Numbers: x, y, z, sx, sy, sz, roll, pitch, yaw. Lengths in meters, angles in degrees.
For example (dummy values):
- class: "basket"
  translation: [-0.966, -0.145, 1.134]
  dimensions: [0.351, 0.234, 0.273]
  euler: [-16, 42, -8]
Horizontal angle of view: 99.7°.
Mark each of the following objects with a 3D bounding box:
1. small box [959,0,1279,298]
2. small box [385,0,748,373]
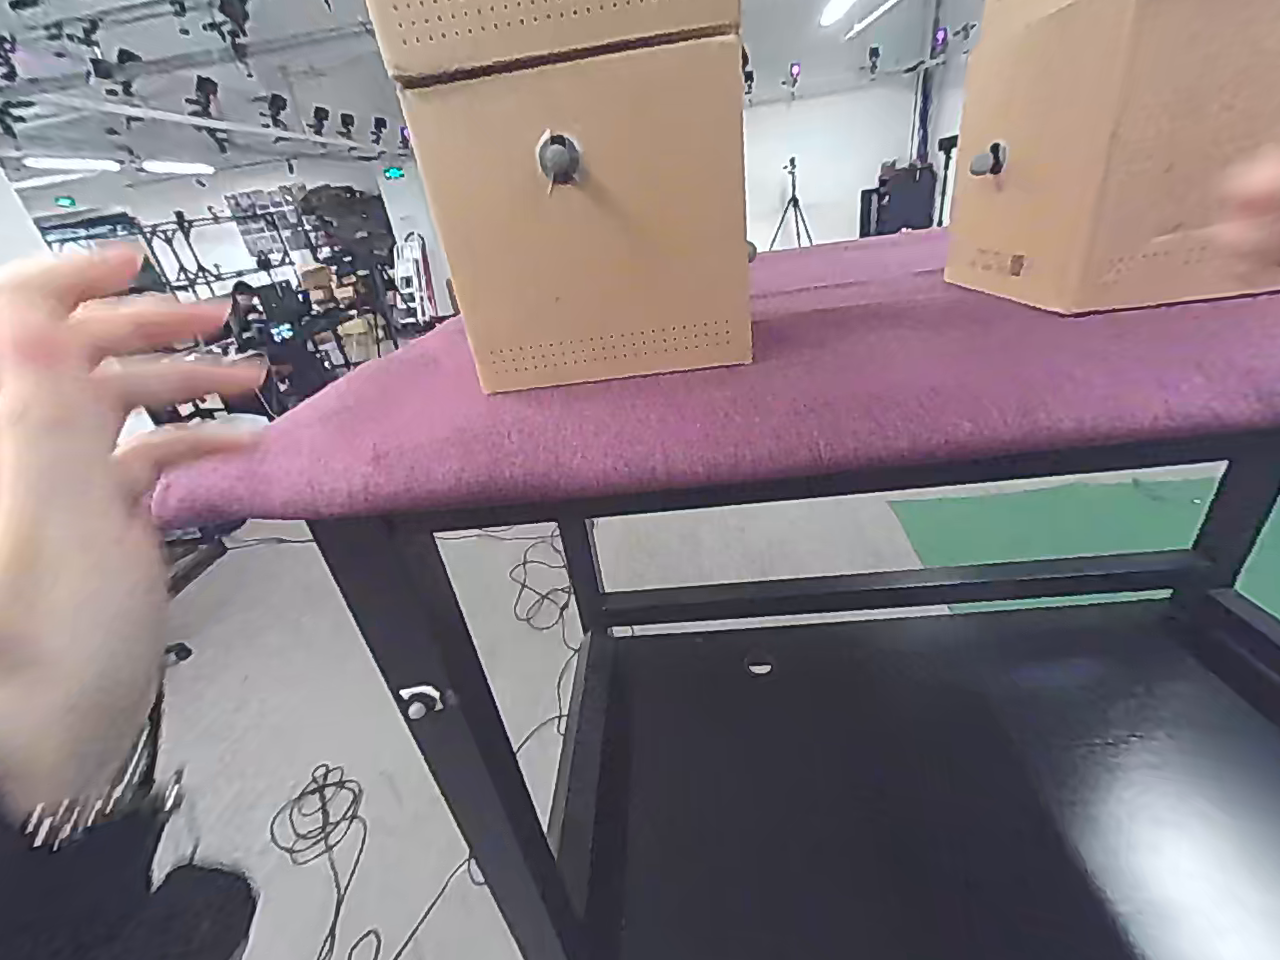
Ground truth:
- class: "small box"
  translation: [0.332, -0.221, 0.349]
  dimensions: [0.179, 0.176, 0.168]
  euler: [-5, 27, 5]
- class: "small box"
  translation: [-0.028, -0.178, 0.364]
  dimensions: [0.179, 0.176, 0.168]
  euler: [-6, 30, 5]
